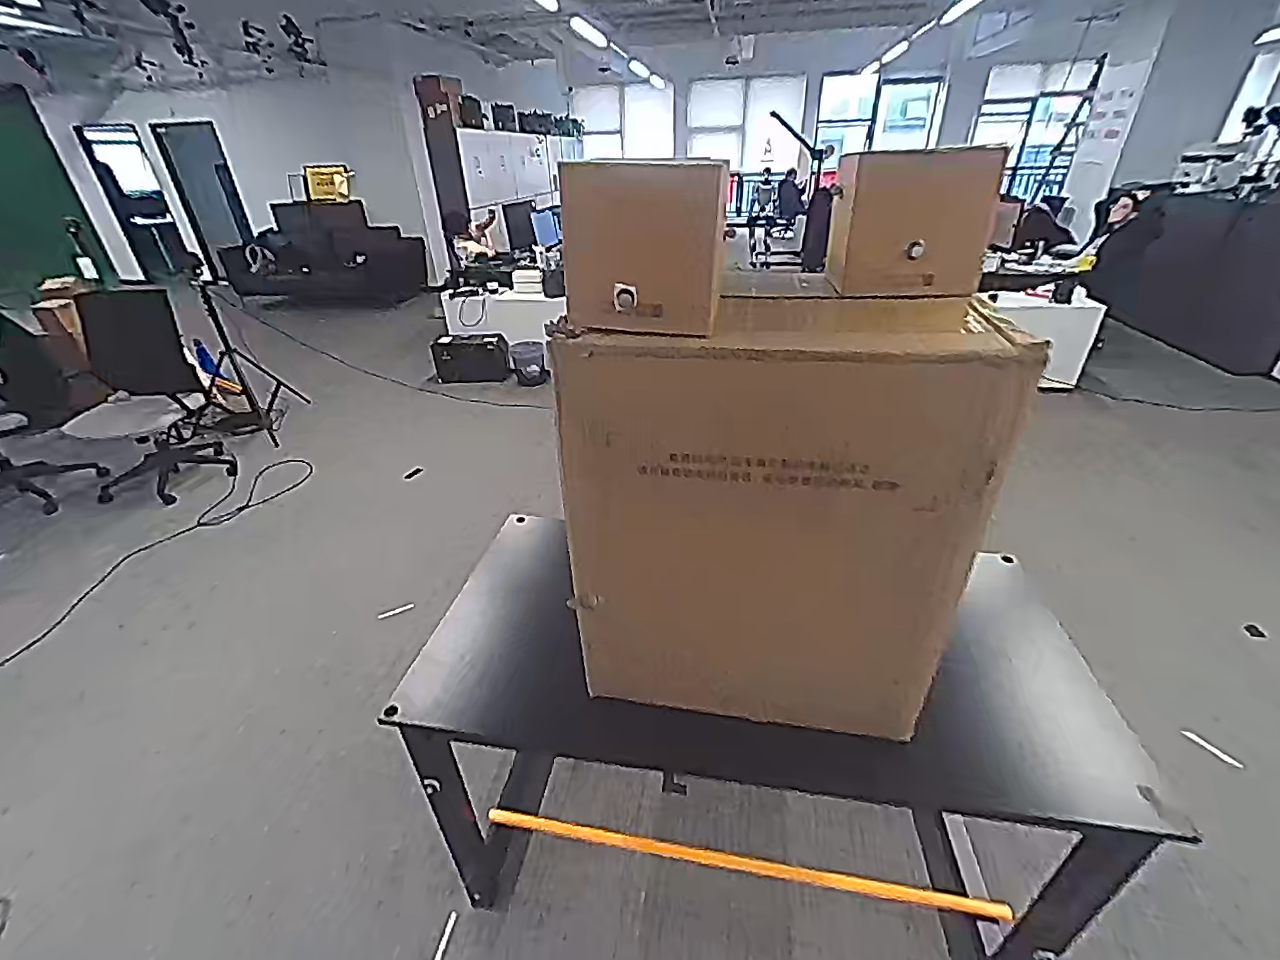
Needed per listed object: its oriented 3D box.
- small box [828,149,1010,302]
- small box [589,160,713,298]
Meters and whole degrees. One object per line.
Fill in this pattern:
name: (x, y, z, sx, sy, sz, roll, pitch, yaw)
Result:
small box: (0.359, -0.346, 0.737, 0.168, 0.176, 0.179, 2, 29, 10)
small box: (0.019, -0.380, 0.813, 0.168, 0.176, 0.179, 2, 30, 4)
